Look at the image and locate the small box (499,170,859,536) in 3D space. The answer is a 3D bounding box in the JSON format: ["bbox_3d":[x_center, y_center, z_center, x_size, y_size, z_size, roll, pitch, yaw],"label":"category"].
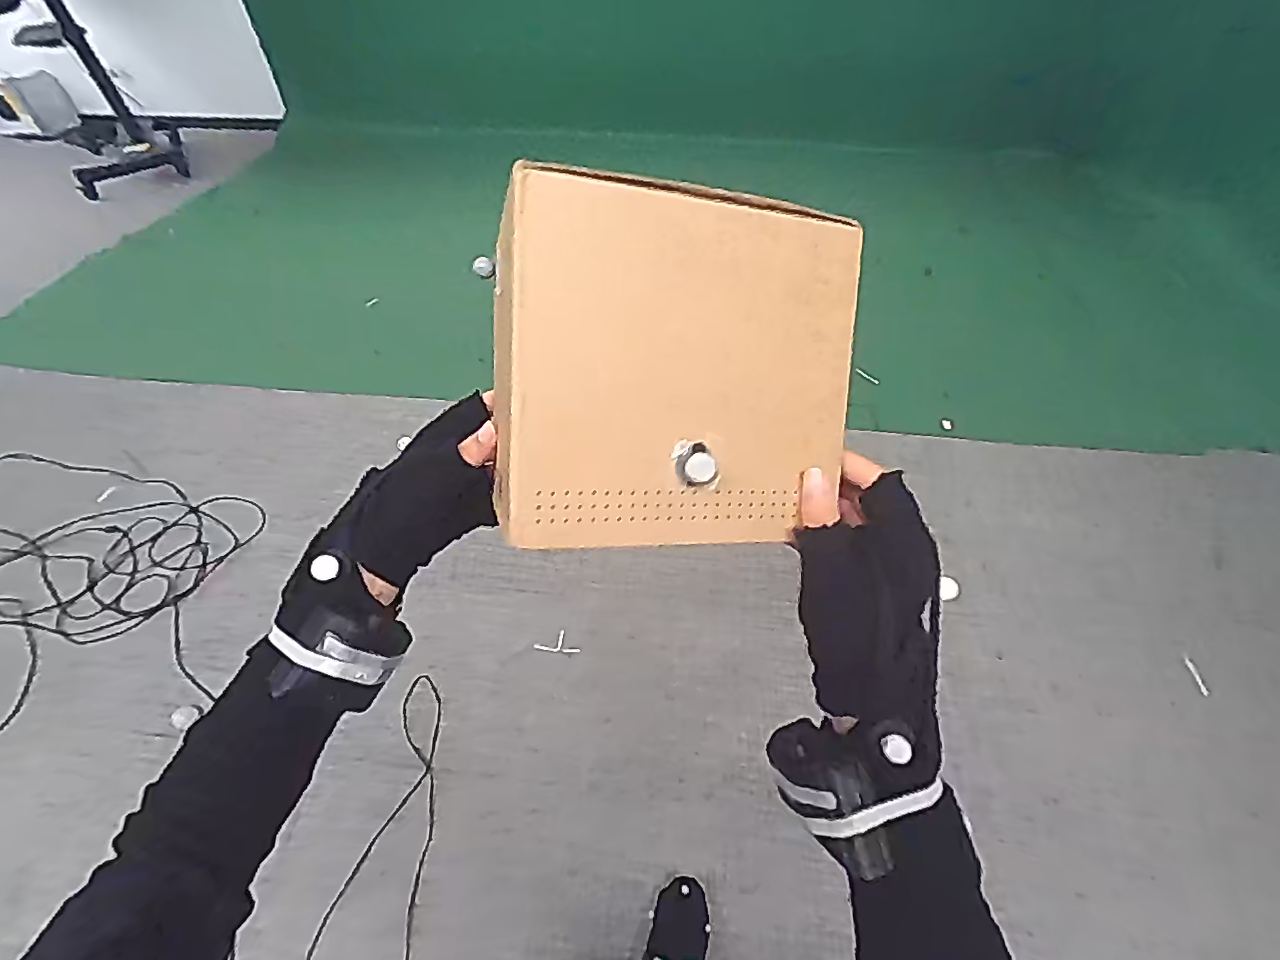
[{"bbox_3d":[0.007,-0.063,0.346,0.179,0.176,0.168,1,7,-19],"label":"small box"}]
